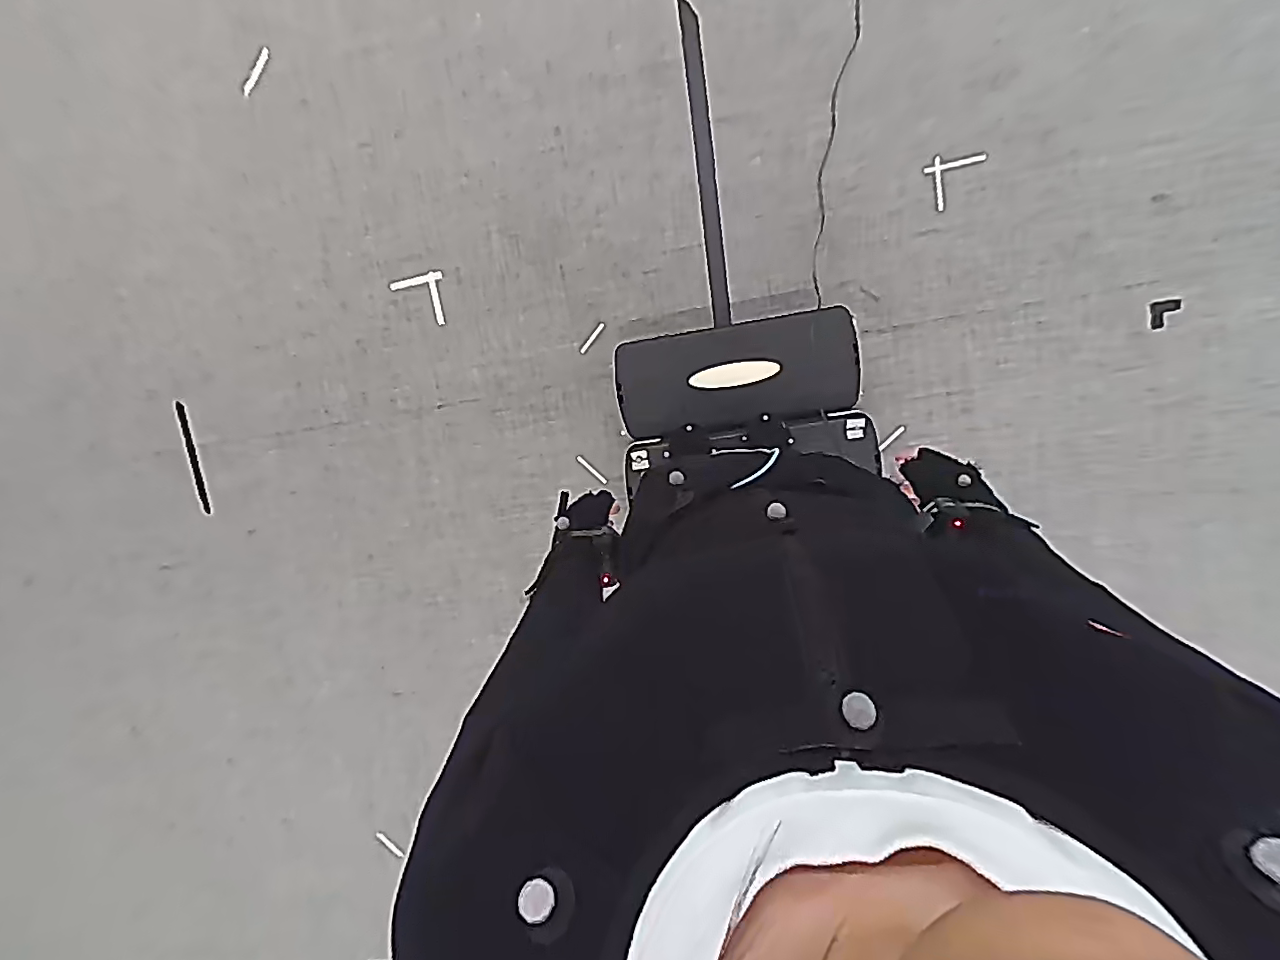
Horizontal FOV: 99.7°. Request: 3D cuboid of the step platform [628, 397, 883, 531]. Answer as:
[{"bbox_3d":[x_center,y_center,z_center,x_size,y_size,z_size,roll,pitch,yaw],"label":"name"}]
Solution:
[{"bbox_3d":[0.309,-0.041,1.517,0.684,0.204,0.286,-9,96,10],"label":"step platform"}]
